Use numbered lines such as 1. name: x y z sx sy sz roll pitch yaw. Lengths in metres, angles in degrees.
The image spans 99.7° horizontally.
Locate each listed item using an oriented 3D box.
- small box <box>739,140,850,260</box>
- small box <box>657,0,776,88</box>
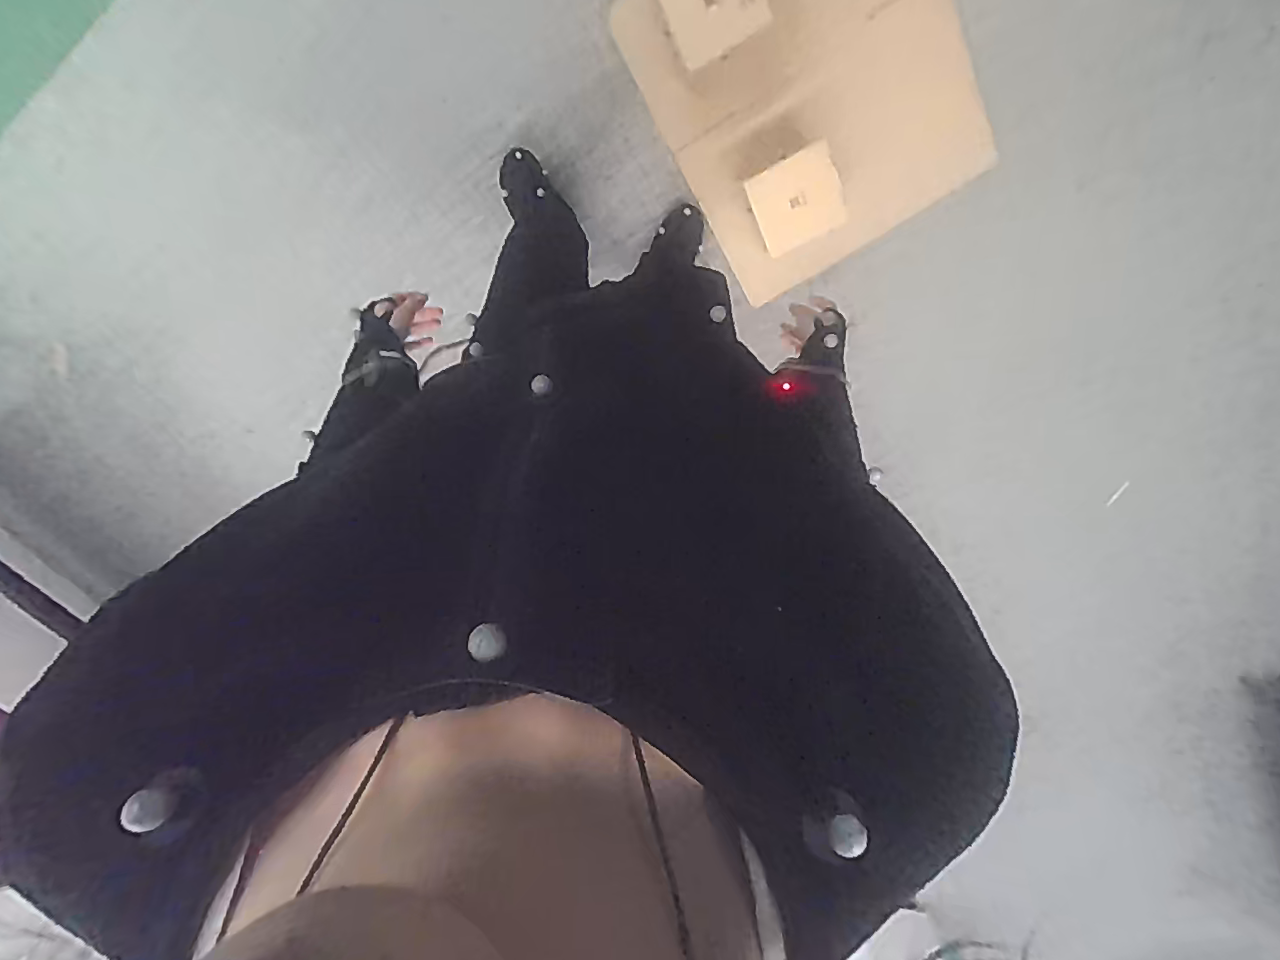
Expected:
1. small box: 0.325 -0.600 1.172 0.179 0.176 0.168 -24 115 13
2. small box: 0.138 -0.887 1.029 0.179 0.176 0.168 -23 115 13
